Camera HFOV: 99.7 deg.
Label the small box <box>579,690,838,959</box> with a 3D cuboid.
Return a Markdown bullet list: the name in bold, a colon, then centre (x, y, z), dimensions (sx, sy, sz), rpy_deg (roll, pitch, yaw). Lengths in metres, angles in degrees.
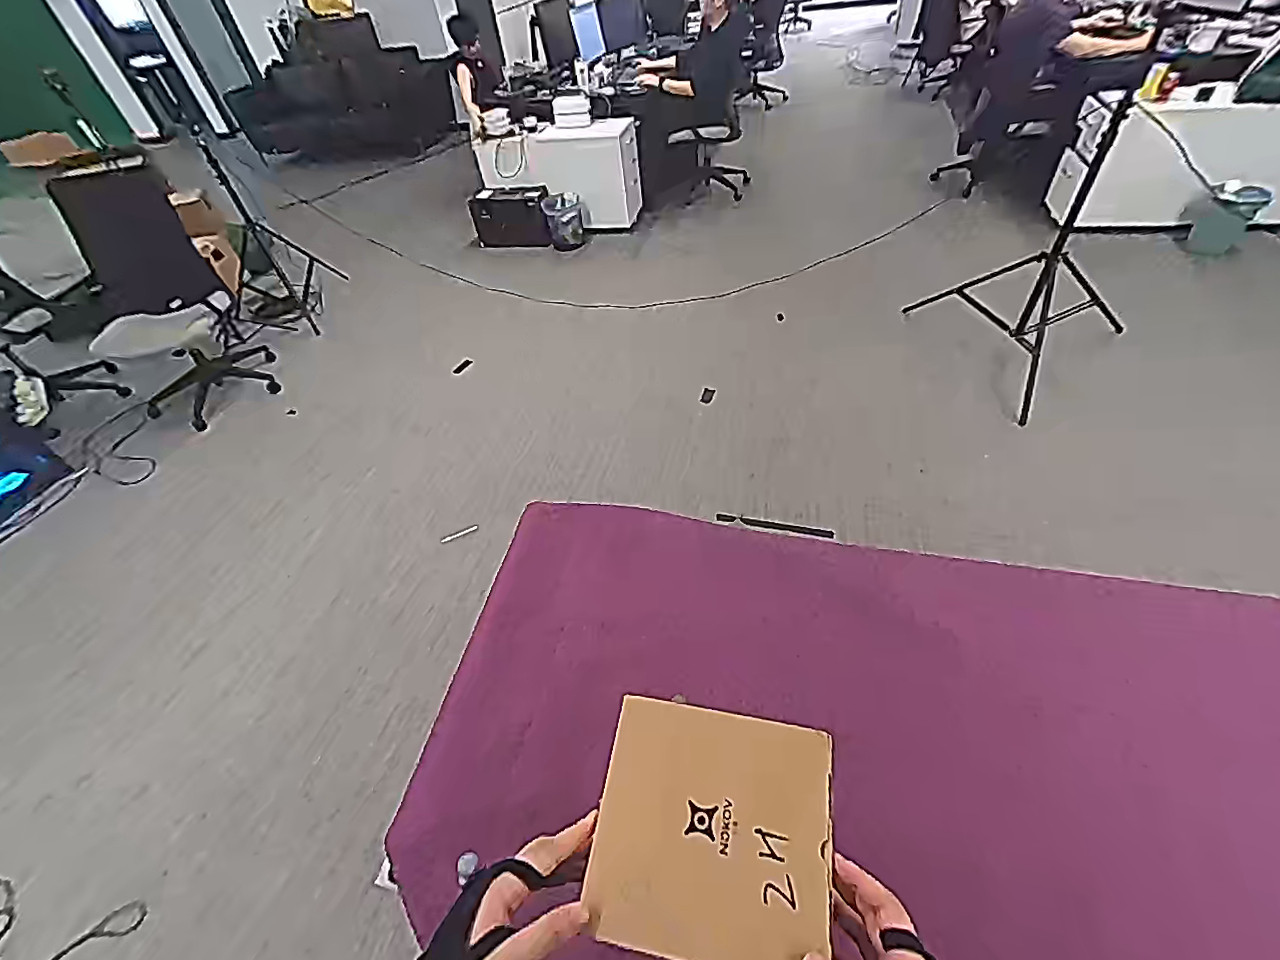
- **small box**: centre (0.064, 0.303, 0.466), dimensions (0.179, 0.176, 0.168), rpy_deg (7, 53, 11)
